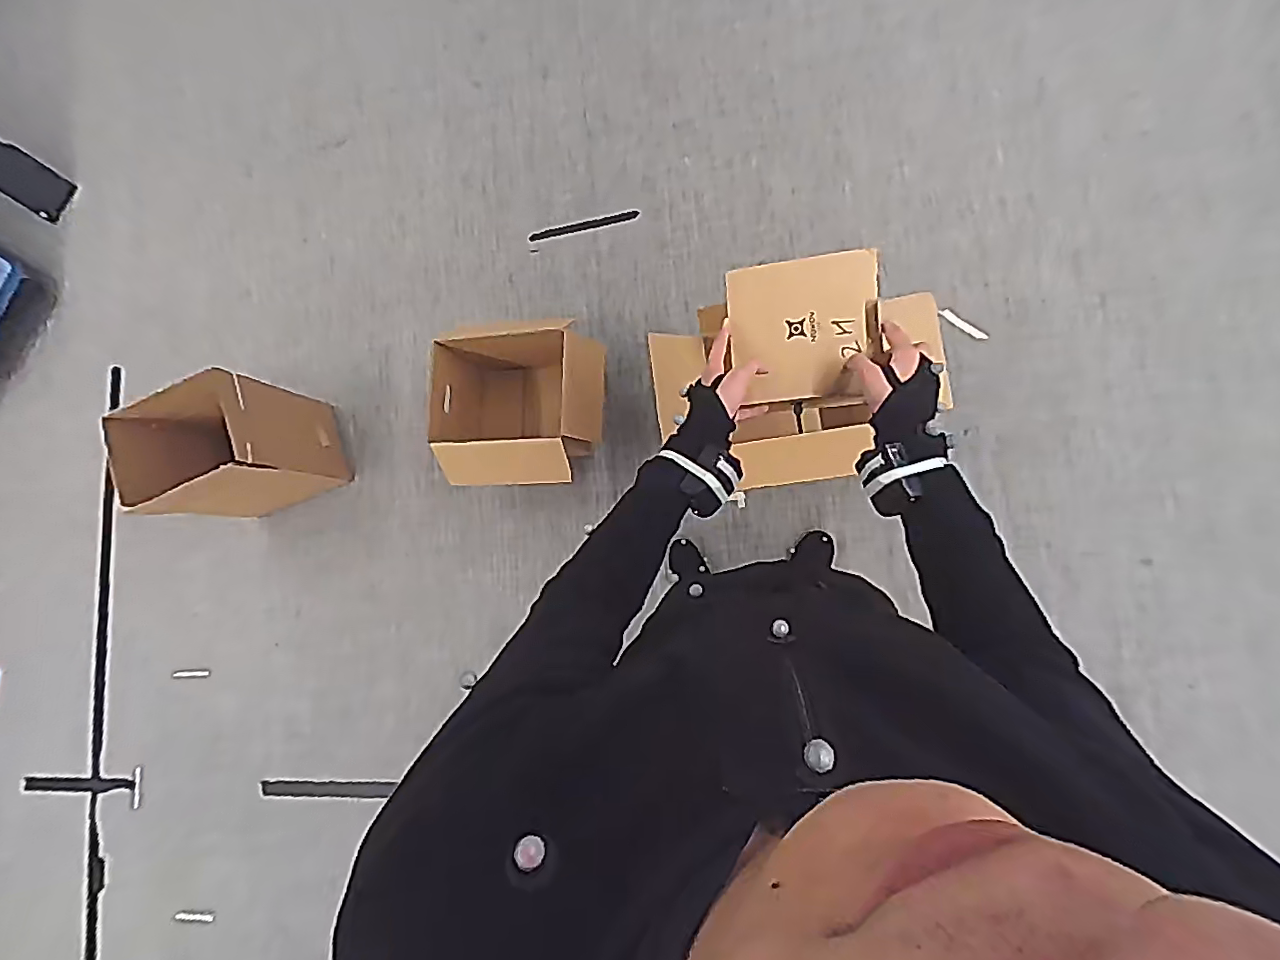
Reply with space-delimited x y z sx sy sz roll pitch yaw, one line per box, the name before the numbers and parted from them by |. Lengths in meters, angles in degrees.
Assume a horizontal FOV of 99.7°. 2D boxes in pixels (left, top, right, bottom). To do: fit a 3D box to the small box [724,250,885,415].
small box | 0.210 -0.180 0.714 0.179 0.176 0.168 -4 92 13
